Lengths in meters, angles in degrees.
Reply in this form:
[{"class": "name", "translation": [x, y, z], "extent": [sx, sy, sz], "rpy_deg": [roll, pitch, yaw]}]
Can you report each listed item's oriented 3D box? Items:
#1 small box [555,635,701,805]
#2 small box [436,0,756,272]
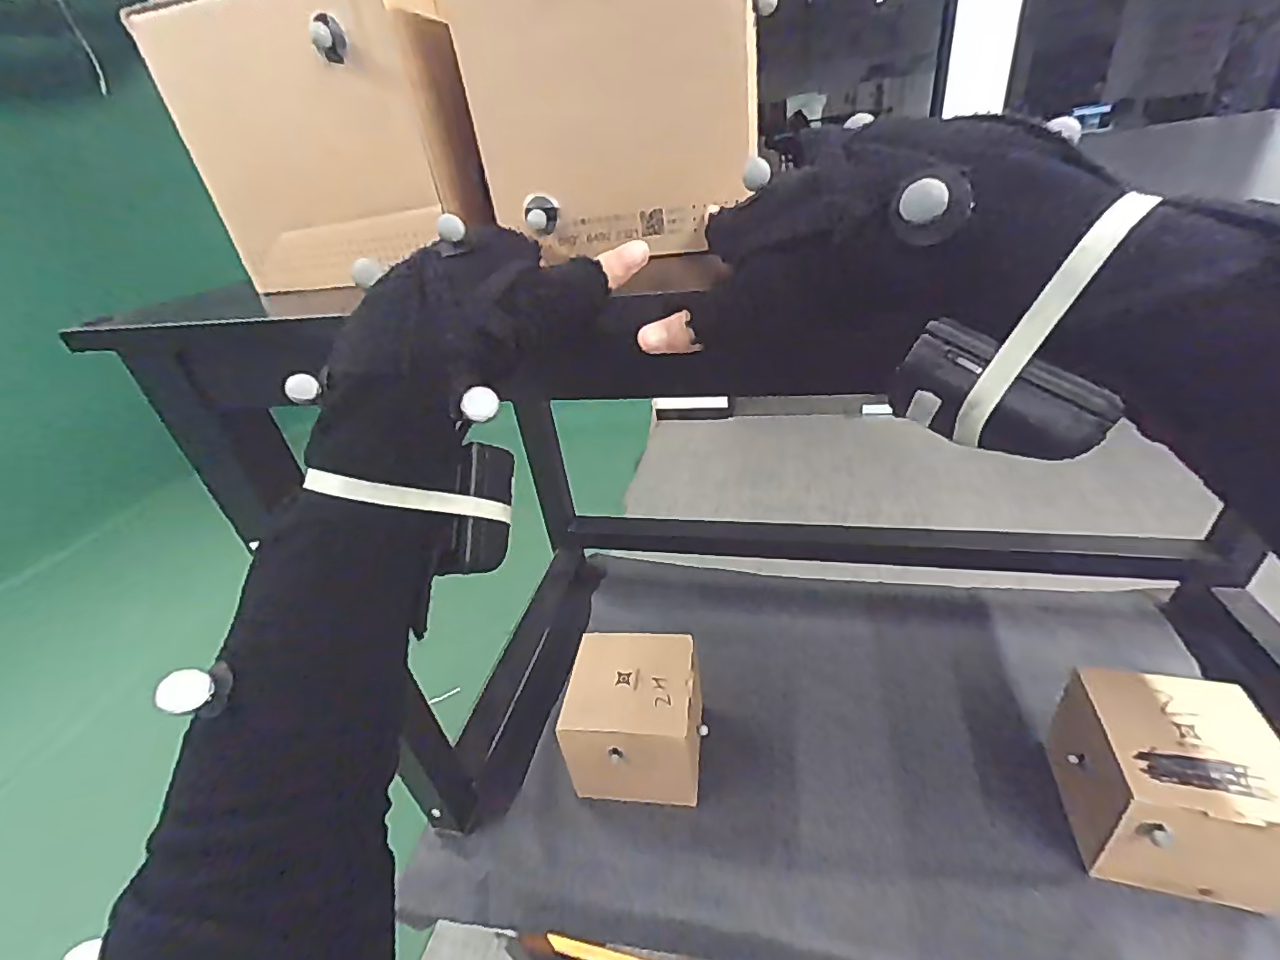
[{"class": "small box", "translation": [-0.007, 0.353, 0.802], "extent": [0.179, 0.176, 0.168], "rpy_deg": [-1, 33, 11]}, {"class": "small box", "translation": [-0.006, -0.249, 0.380], "extent": [0.168, 0.176, 0.179], "rpy_deg": [0, 32, 14]}]
